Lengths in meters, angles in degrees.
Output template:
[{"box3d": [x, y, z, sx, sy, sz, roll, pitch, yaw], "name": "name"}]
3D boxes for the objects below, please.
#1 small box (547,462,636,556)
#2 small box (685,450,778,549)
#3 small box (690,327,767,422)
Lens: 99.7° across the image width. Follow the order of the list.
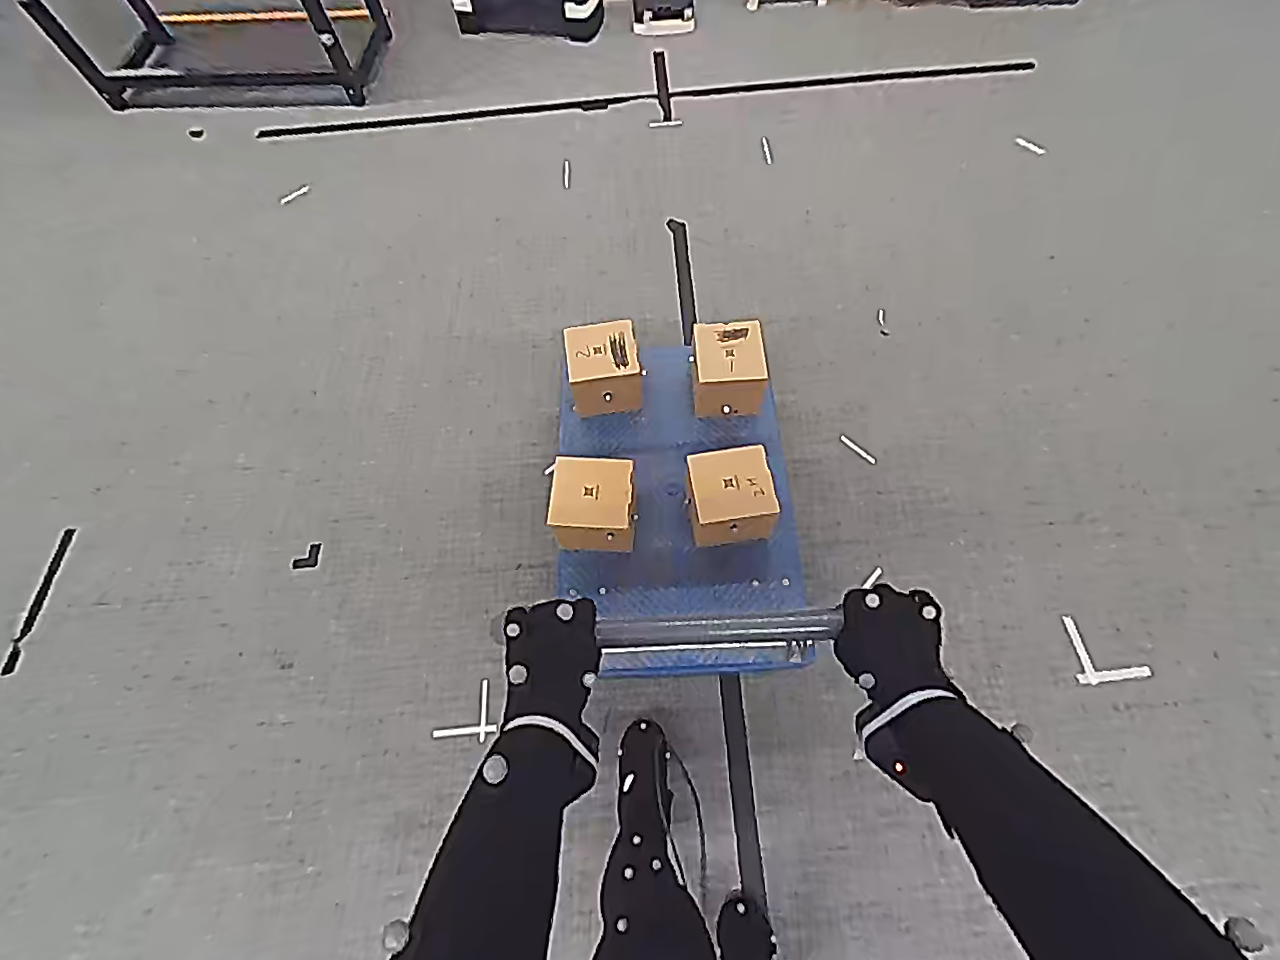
[{"box3d": [-0.105, 0.071, 1.249, 0.179, 0.176, 0.168, 3, 65, 2], "name": "small box"}, {"box3d": [0.202, 0.051, 1.244, 0.179, 0.176, 0.168, -8, 66, -1], "name": "small box"}, {"box3d": [0.219, -0.269, 1.389, 0.168, 0.176, 0.179, -3, 66, 1], "name": "small box"}]
